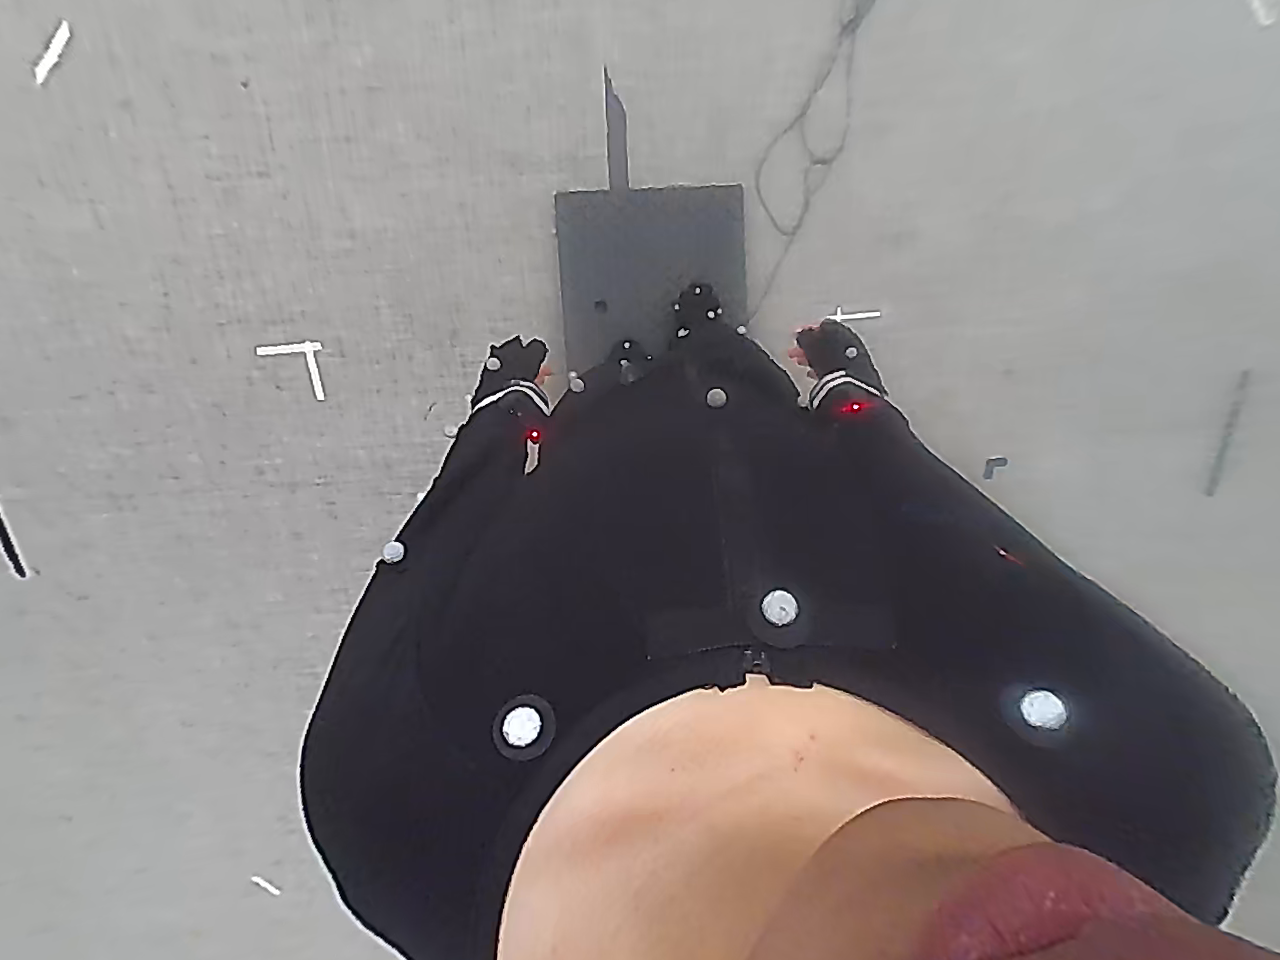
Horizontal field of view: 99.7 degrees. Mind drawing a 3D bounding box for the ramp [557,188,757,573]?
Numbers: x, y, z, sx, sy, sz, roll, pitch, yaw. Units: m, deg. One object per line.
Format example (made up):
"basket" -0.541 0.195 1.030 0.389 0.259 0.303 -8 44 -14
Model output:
"ramp" 0.053 -0.249 1.458 0.509 0.206 0.991 -5 106 0
